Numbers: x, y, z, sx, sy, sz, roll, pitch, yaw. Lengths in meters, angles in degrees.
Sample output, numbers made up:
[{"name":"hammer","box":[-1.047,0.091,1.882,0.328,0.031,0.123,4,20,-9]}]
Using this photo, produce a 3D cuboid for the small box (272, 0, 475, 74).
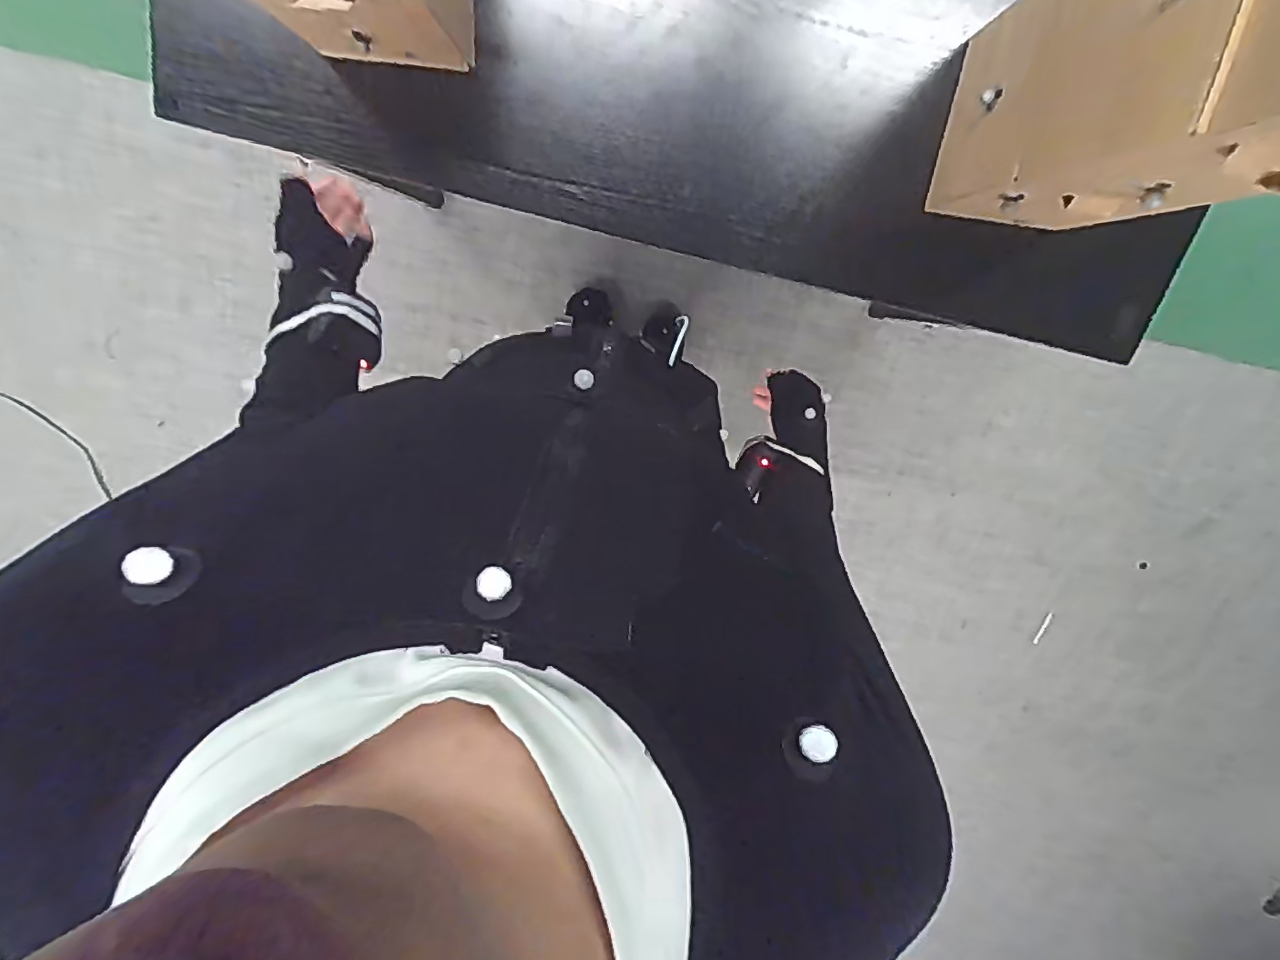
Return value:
[{"name":"small box","box":[-0.252,-0.509,0.488,0.168,0.176,0.179,4,110,-3]}]

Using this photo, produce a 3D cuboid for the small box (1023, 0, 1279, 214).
[{"name":"small box","box":[0.424,-0.307,0.388,0.168,0.176,0.179,5,109,-2]}]
